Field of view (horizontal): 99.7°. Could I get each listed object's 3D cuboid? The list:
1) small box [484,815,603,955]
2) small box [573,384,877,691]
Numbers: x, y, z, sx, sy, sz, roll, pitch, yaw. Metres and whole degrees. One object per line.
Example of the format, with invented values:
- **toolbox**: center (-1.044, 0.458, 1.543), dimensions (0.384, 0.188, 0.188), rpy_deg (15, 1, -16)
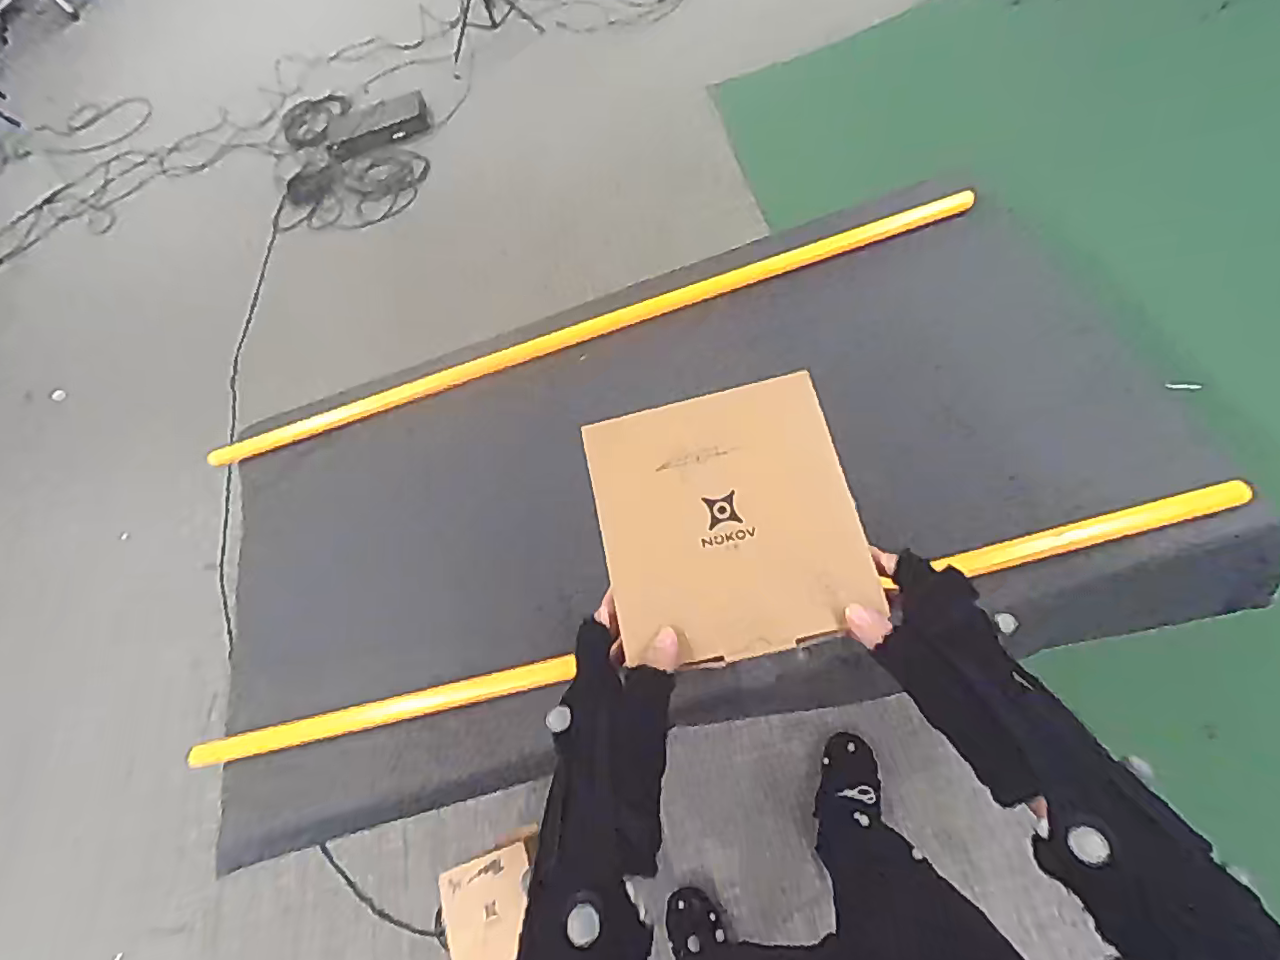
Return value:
- **small box**: center (-0.194, 0.818, 1.116), dimensions (0.168, 0.176, 0.179), rpy_deg (-25, 64, 1)
- **small box**: center (0.058, 0.055, 0.429), dimensions (0.168, 0.176, 0.179), rpy_deg (-14, 70, 3)
